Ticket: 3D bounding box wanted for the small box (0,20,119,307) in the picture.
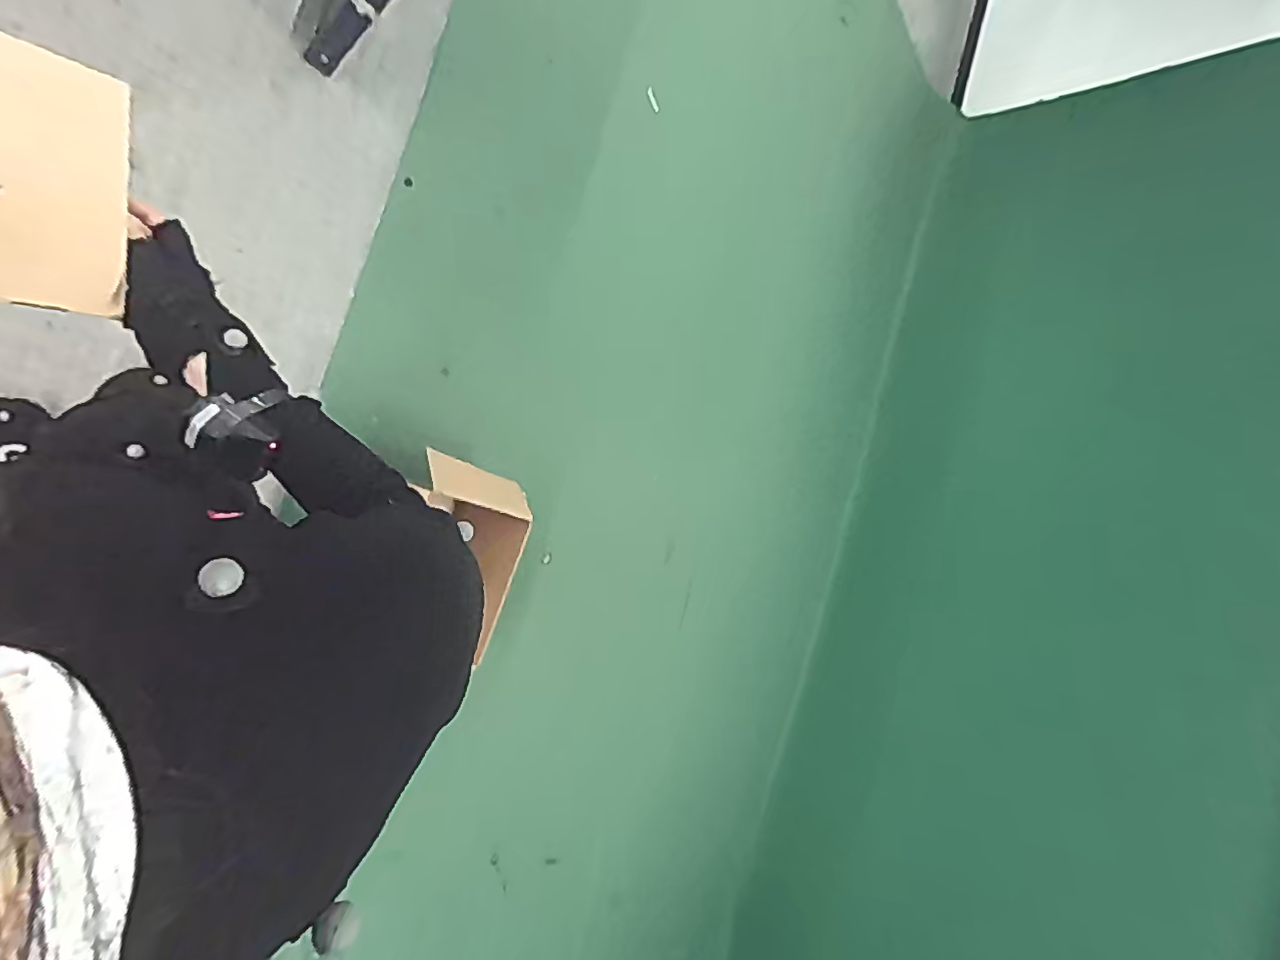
[{"bbox_3d":[-0.516,-0.242,0.397,0.168,0.176,0.179,-3,110,-53],"label":"small box"}]
